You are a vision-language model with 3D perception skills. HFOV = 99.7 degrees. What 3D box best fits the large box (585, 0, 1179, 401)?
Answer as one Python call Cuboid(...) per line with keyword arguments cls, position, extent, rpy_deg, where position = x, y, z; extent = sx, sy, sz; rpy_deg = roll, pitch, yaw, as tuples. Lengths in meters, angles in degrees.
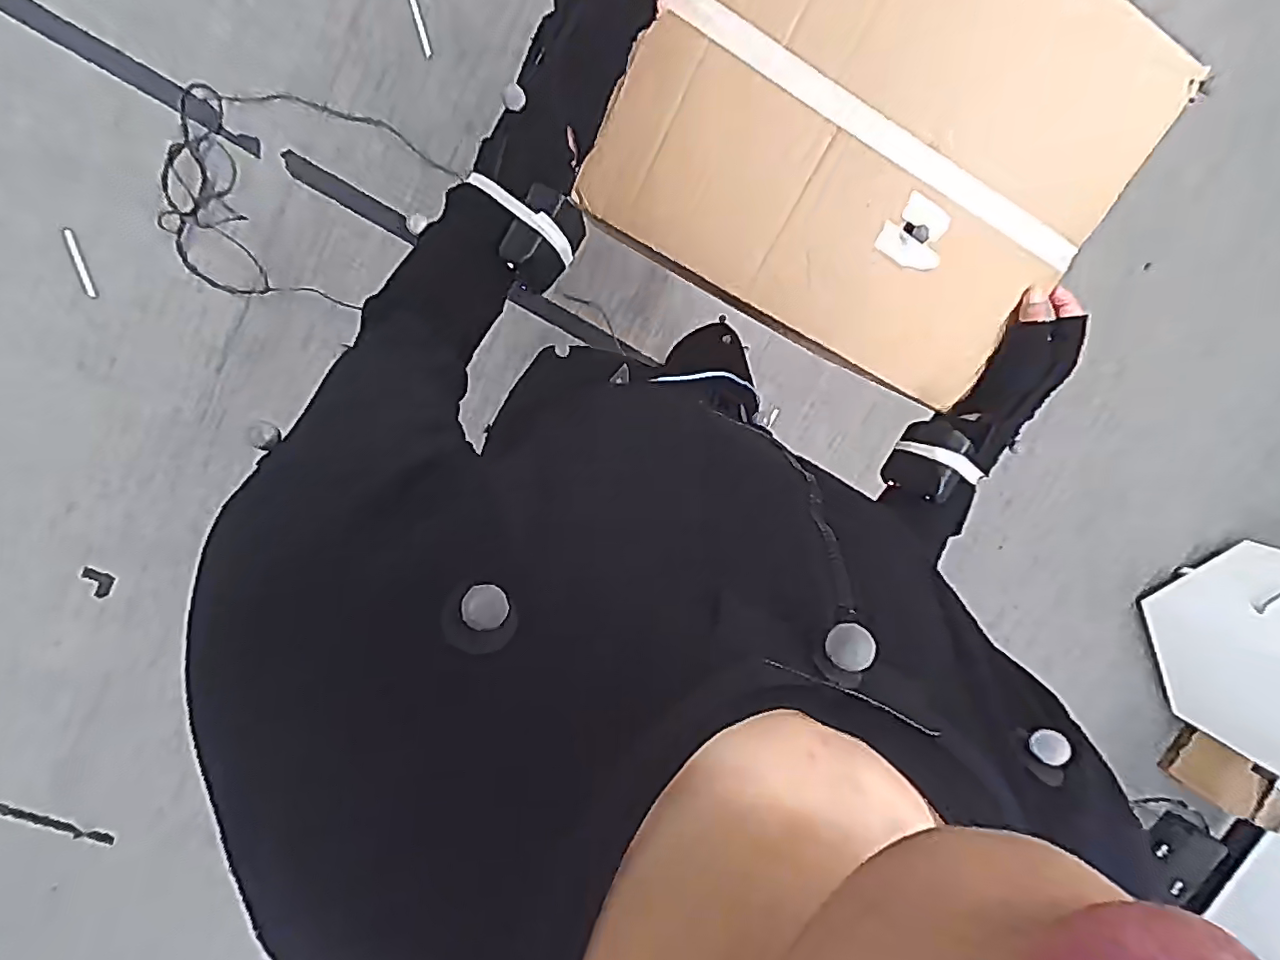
Cuboid(cls="large box", position=(0.186, -0.337, 0.580), extent=(0.408, 0.320, 0.320), rpy_deg=(25, 110, -13))
